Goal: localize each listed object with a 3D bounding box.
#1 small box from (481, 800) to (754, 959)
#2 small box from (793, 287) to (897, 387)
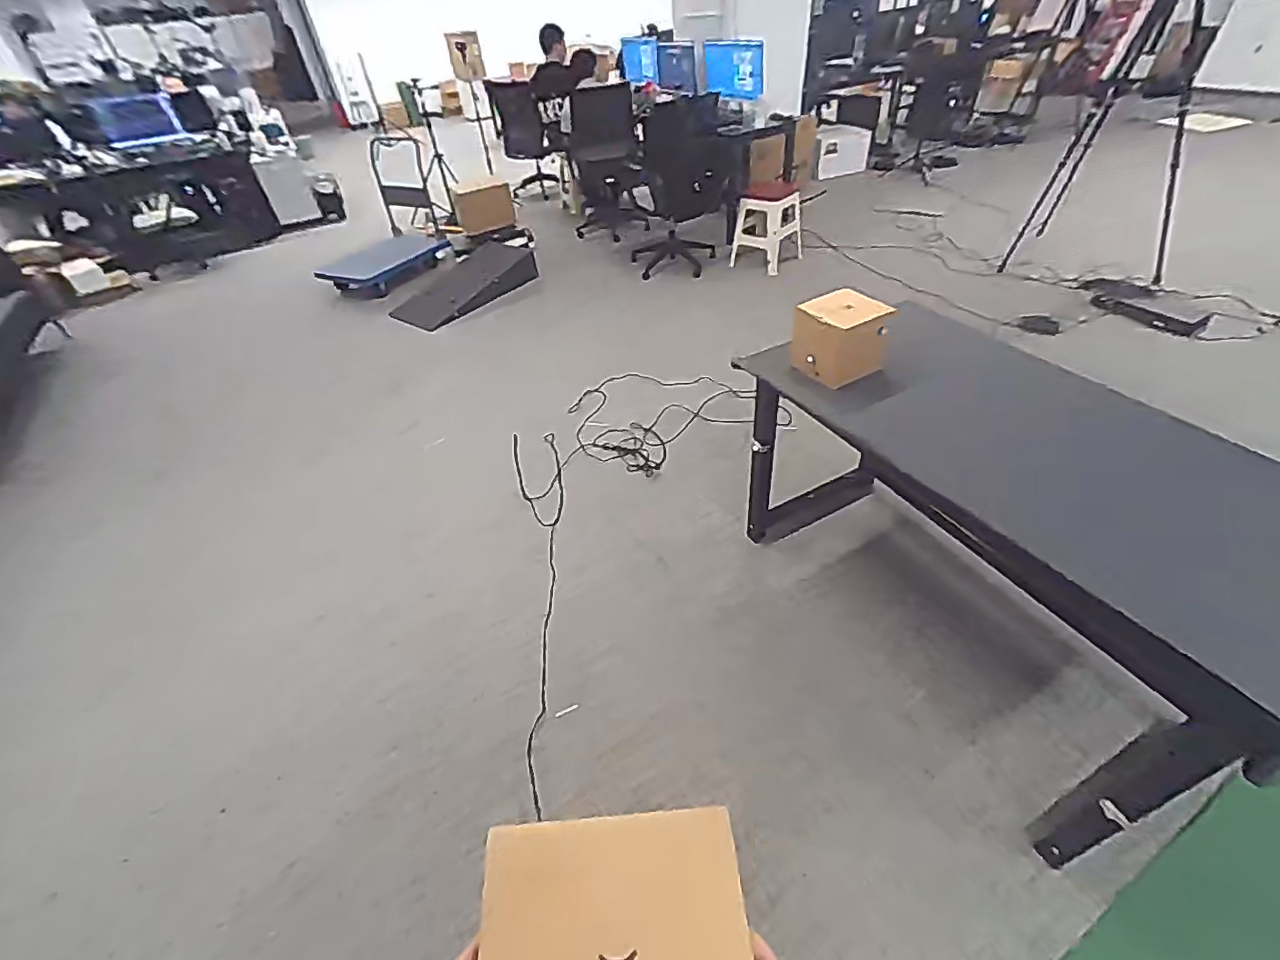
[{"bbox_3d":[-0.018,0.343,0.373,0.168,0.176,0.179,-1,50,-7],"label":"small box"},{"bbox_3d":[0.515,-0.366,1.384,0.179,0.176,0.168,-23,45,-19],"label":"small box"}]
